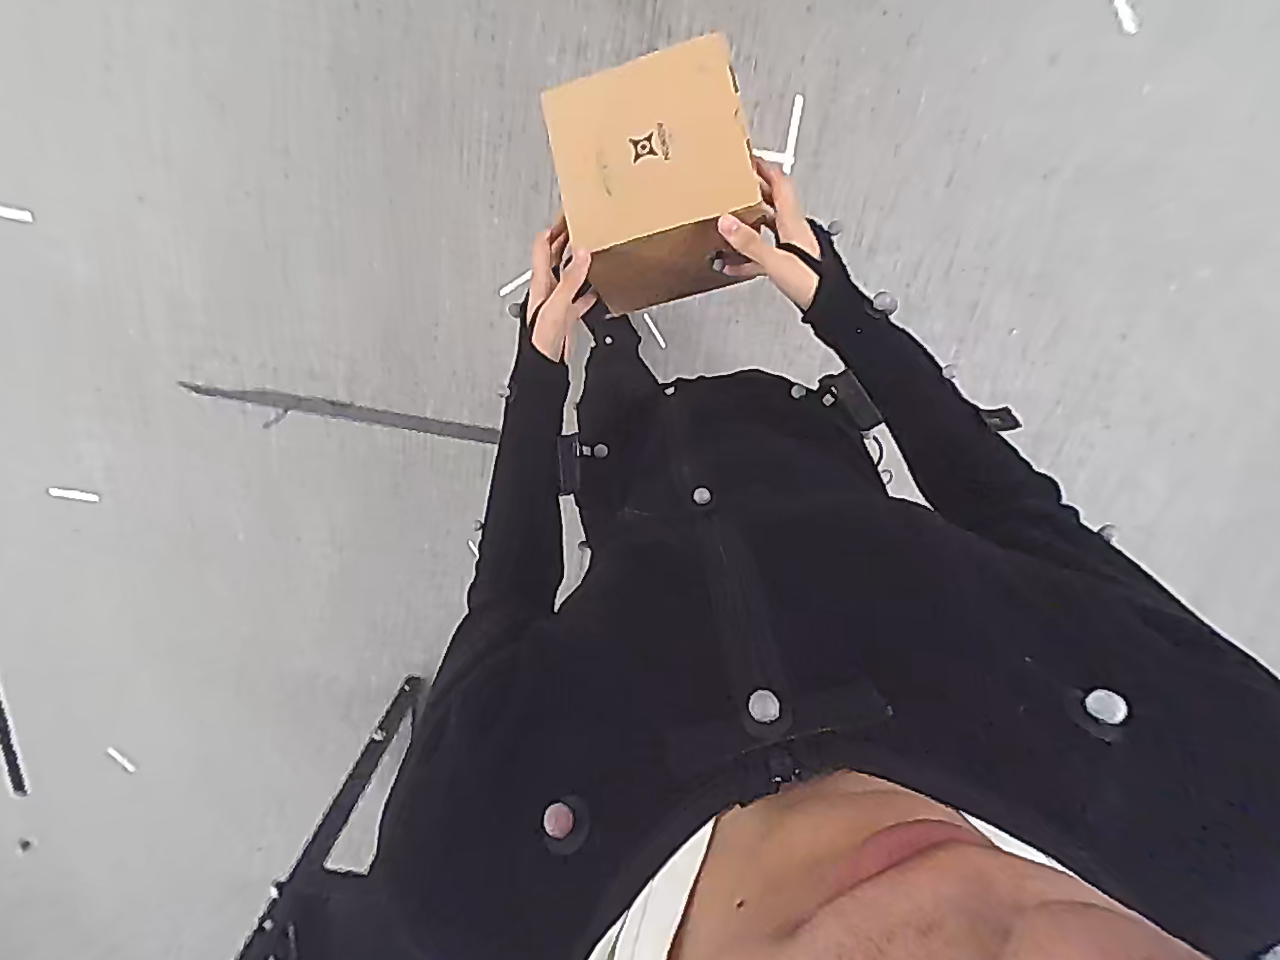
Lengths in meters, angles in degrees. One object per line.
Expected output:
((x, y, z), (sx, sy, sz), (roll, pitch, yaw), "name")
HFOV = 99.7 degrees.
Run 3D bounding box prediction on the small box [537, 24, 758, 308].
((0.015, -0.301, 0.559), (0.179, 0.176, 0.168), (-12, 85, 9), "small box")
